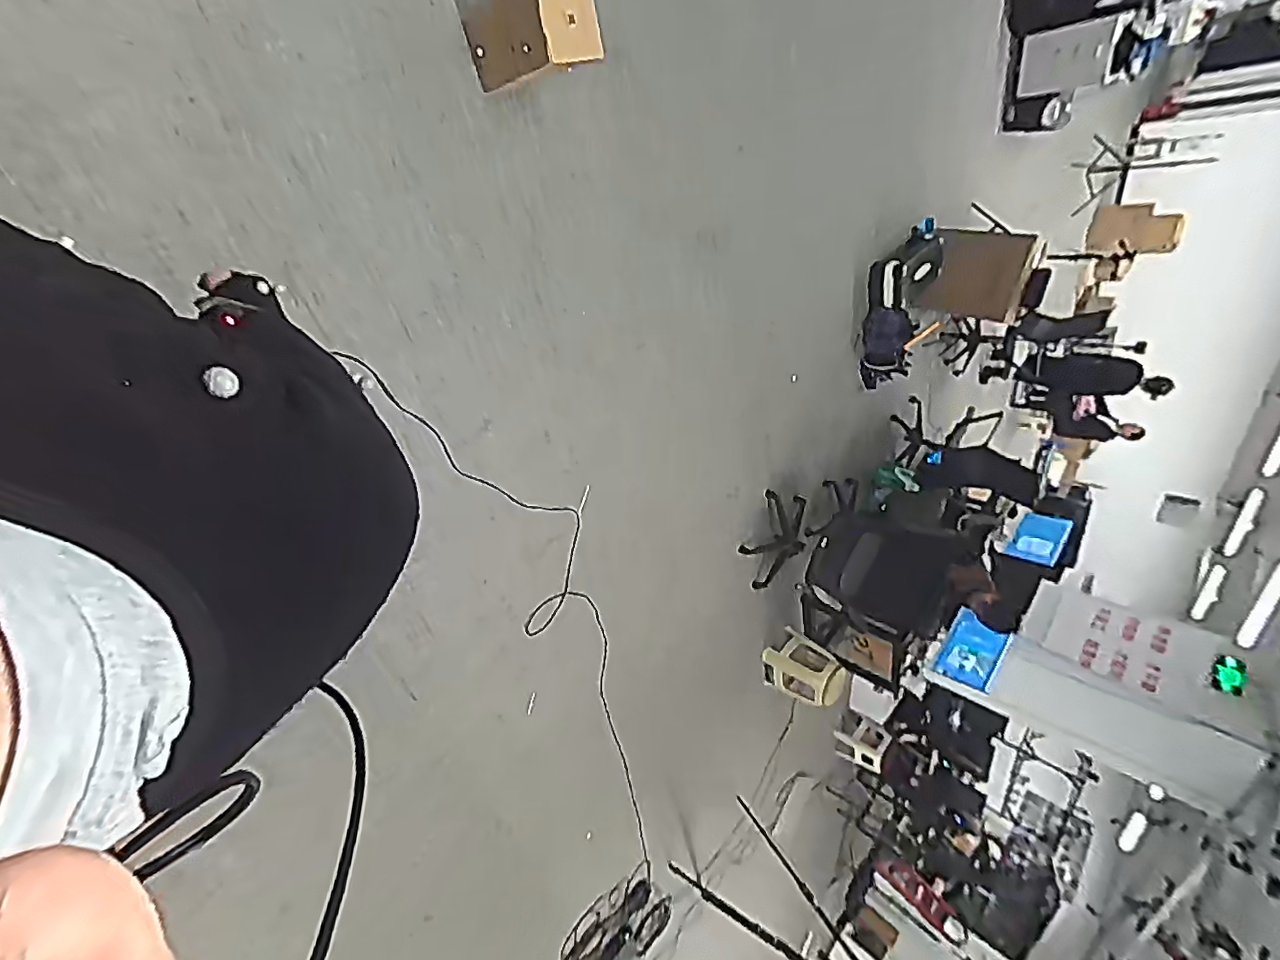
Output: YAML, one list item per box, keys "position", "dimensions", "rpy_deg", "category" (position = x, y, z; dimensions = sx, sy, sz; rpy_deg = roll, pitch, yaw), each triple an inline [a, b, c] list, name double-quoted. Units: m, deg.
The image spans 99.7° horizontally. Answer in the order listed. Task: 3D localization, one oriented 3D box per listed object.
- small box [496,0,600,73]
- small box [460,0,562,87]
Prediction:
- position: [-0.231, -1.123, 1.329]
  dimensions: [0.179, 0.176, 0.168]
  rpy_deg: [-37, 131, -33]
  category: "small box"
- position: [-0.341, -1.170, 1.438]
  dimensions: [0.179, 0.176, 0.168]
  rpy_deg: [-37, 130, -30]
  category: "small box"
